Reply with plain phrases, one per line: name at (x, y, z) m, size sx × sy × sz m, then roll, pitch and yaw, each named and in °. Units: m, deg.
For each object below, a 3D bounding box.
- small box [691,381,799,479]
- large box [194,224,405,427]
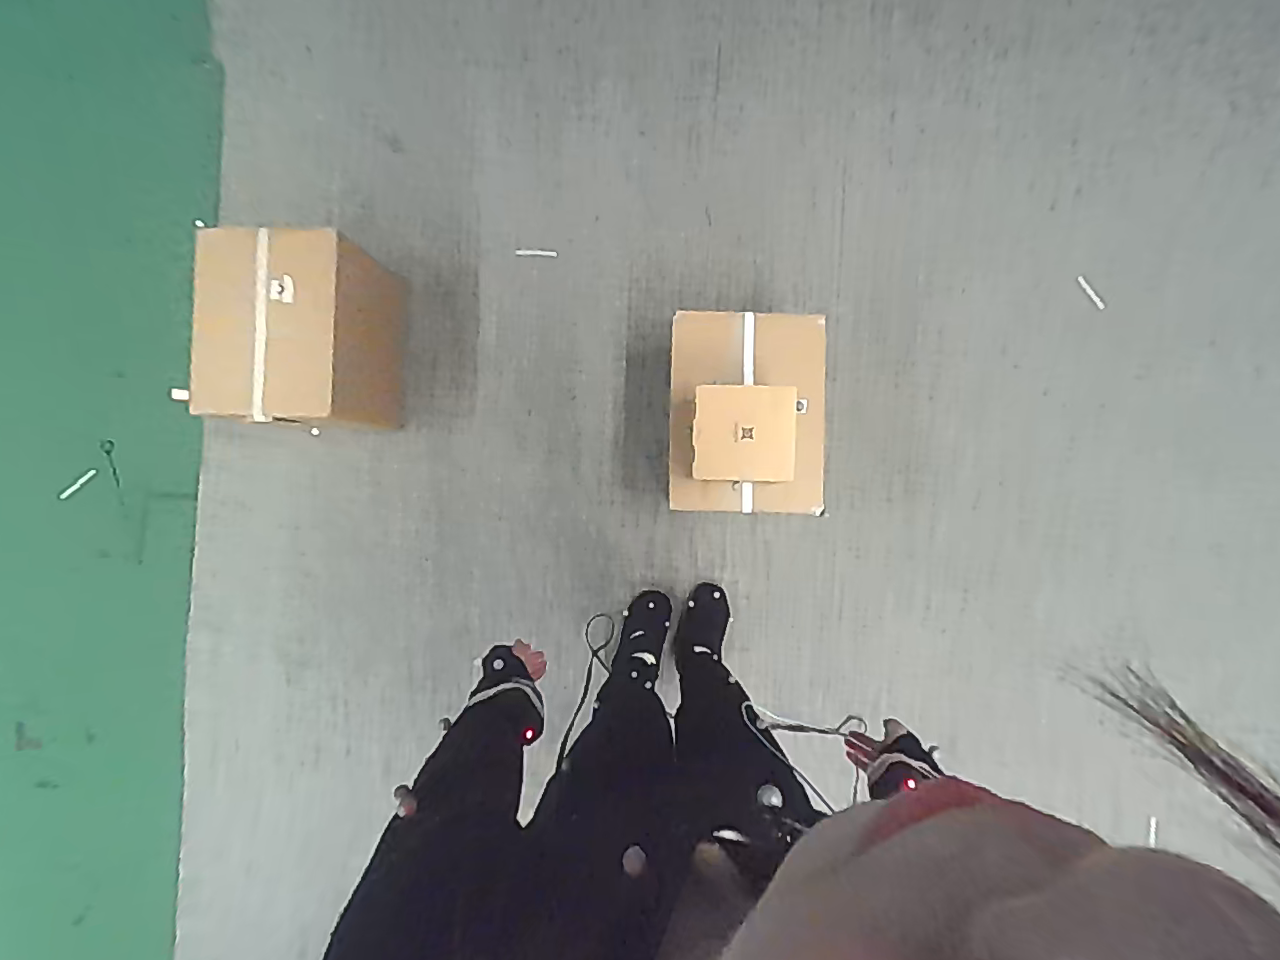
small box at (0.187, -0.088, 1.004) m, size 0.179 × 0.176 × 0.168 m, roll 1°, pitch 90°, yaw 5°
large box at (-0.782, -0.340, 1.289) m, size 0.320 × 0.320 × 0.408 m, roll 2°, pitch 89°, yaw 3°
